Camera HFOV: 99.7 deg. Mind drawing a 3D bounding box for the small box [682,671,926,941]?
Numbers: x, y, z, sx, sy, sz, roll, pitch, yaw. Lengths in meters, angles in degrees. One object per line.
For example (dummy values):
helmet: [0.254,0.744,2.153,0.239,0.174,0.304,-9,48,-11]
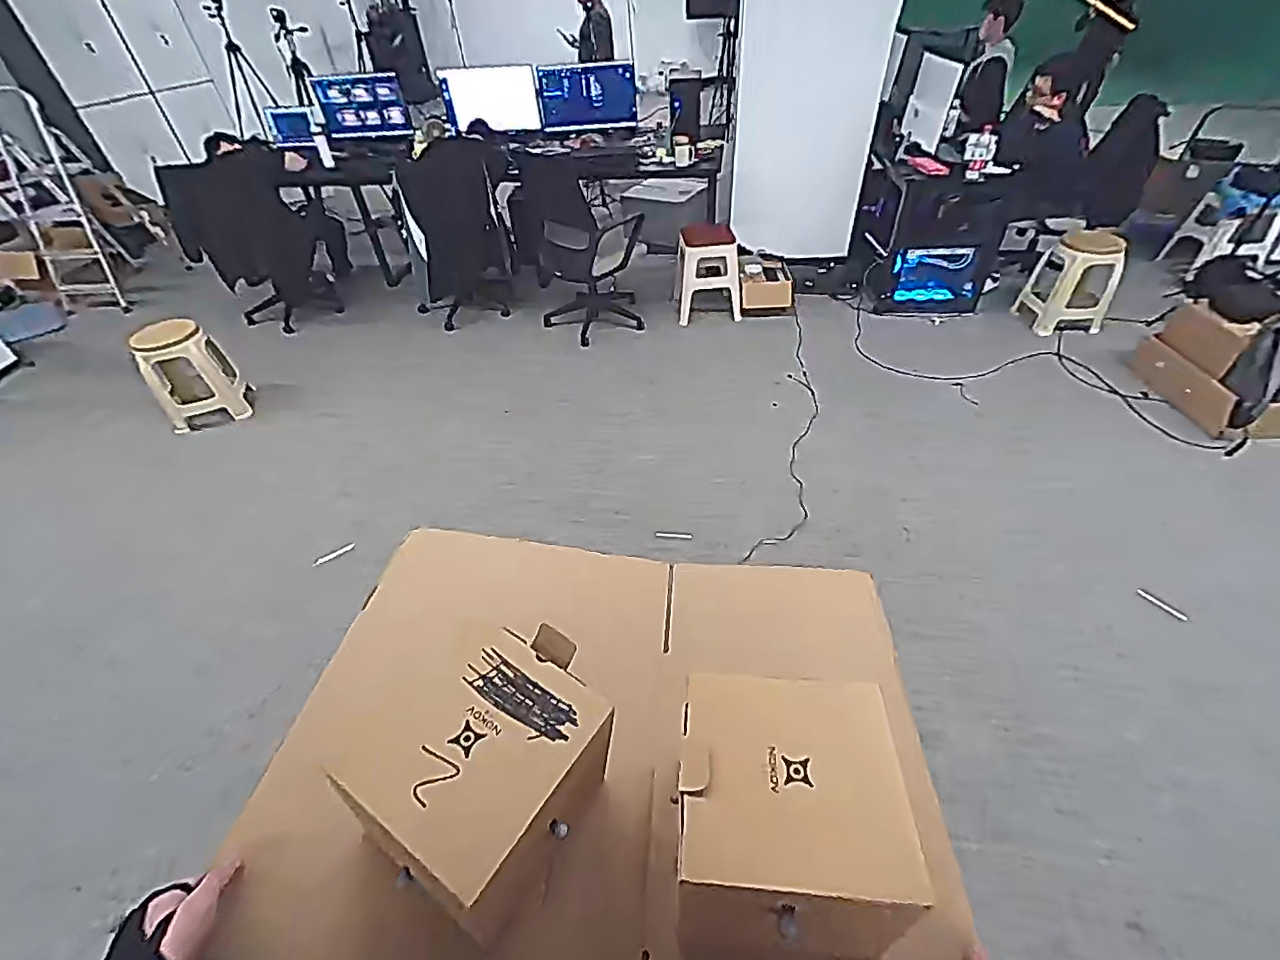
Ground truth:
small box: [0.130,0.300,0.501,0.179,0.176,0.168,0,40,7]
